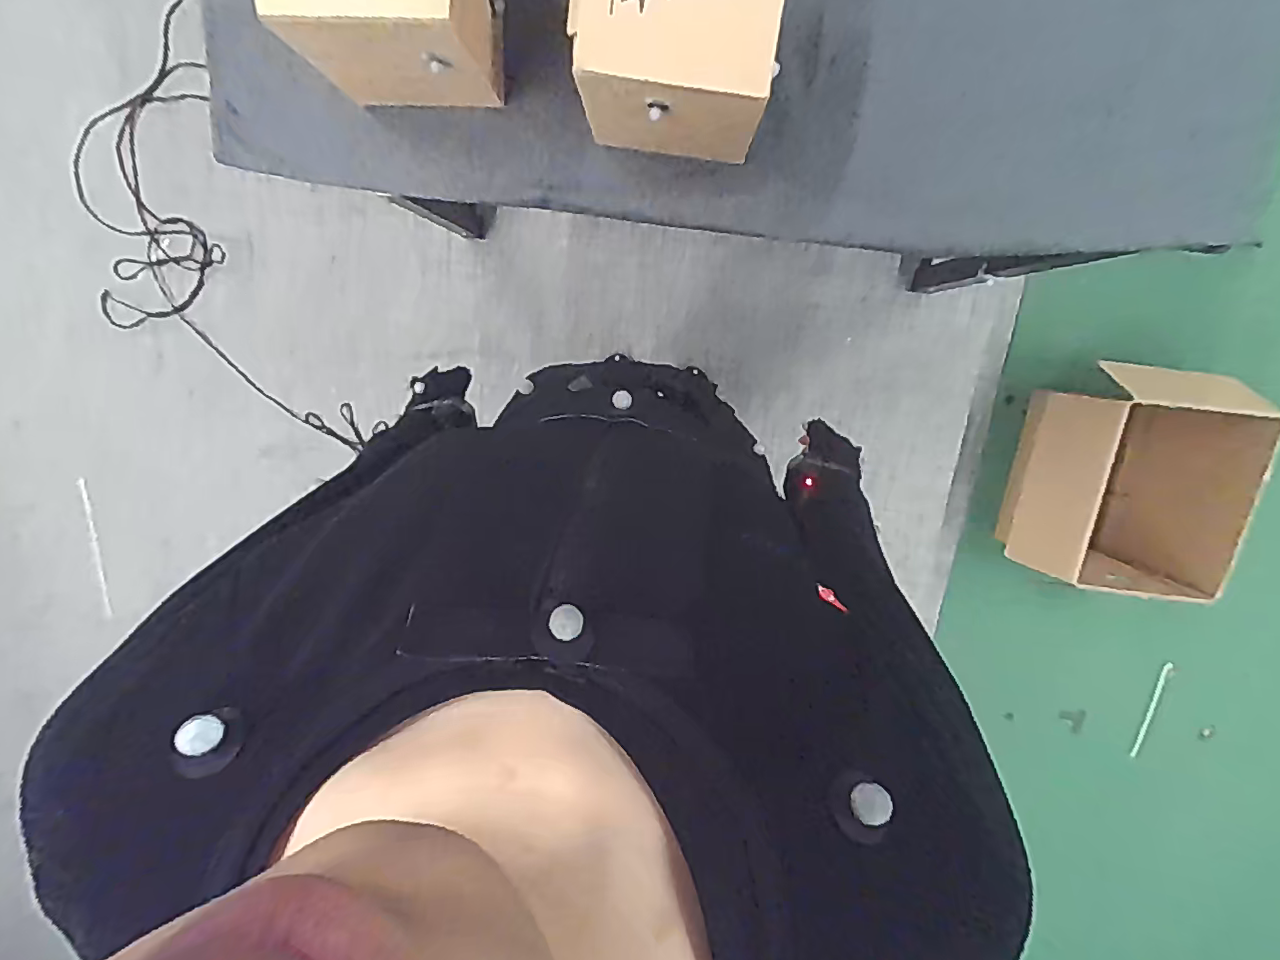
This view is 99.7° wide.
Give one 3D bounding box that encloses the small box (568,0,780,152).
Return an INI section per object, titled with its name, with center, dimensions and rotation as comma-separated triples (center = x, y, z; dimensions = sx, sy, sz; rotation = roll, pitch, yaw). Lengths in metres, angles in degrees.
[small box]
center = 0.038, -0.444, 0.527
dimensions = 0.179, 0.176, 0.168
rotation = 8, 104, 1
